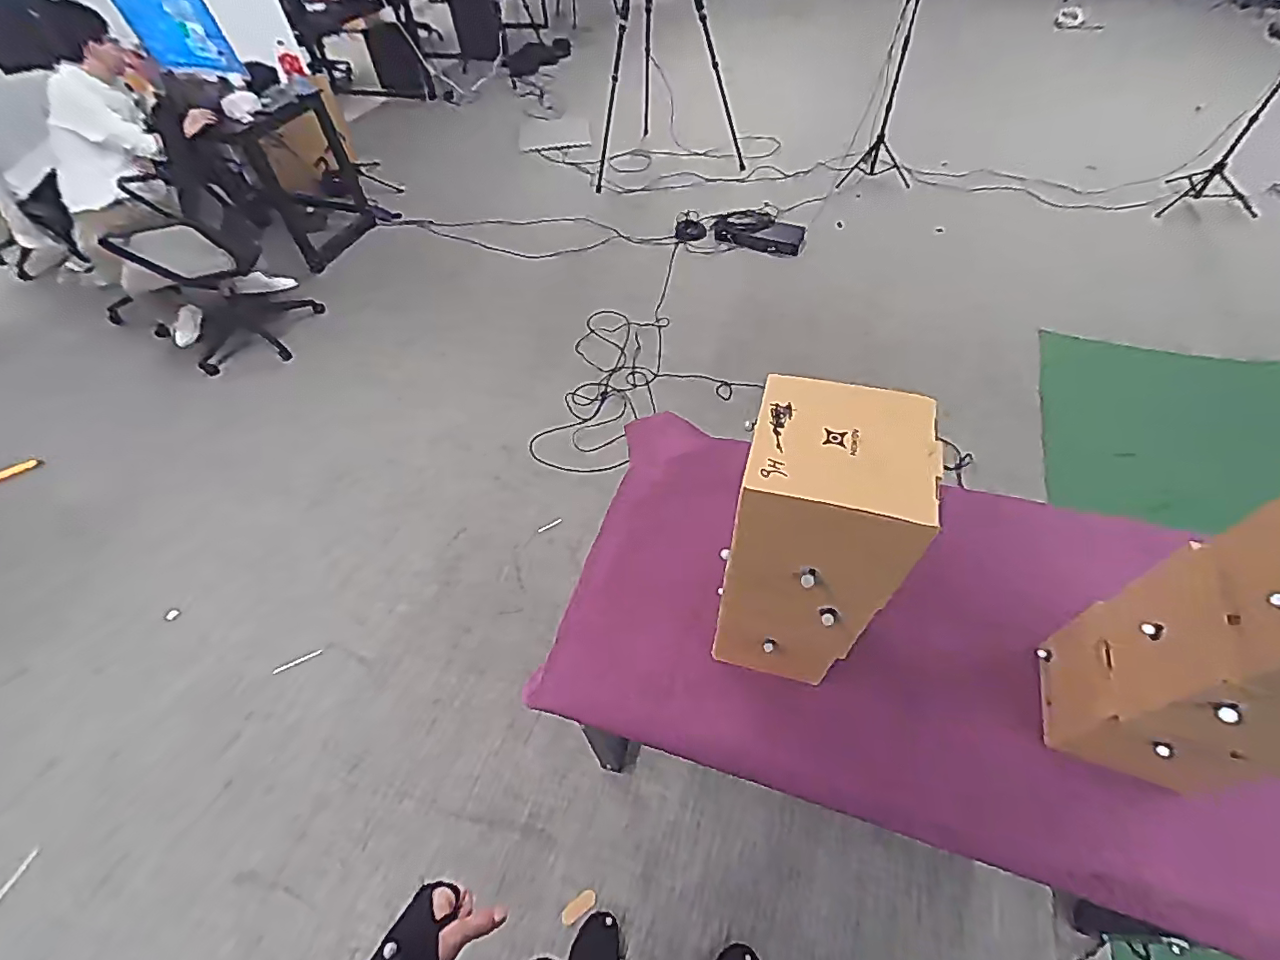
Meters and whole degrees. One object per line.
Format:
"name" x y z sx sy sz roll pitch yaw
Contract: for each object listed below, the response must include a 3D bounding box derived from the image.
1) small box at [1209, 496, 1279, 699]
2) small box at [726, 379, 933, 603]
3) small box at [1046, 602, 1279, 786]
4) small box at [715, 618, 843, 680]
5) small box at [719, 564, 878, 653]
"small box" 0.674 0.114 0.485 0.179 0.176 0.168 17 56 17
"small box" 0.202 0.017 0.600 0.179 0.176 0.168 12 54 13
"small box" 0.699 0.301 0.753 0.179 0.176 0.168 15 55 15
"small box" 0.224 0.204 0.870 0.179 0.176 0.168 11 54 13
"small box" 0.212 0.115 0.731 0.179 0.176 0.168 12 54 14
